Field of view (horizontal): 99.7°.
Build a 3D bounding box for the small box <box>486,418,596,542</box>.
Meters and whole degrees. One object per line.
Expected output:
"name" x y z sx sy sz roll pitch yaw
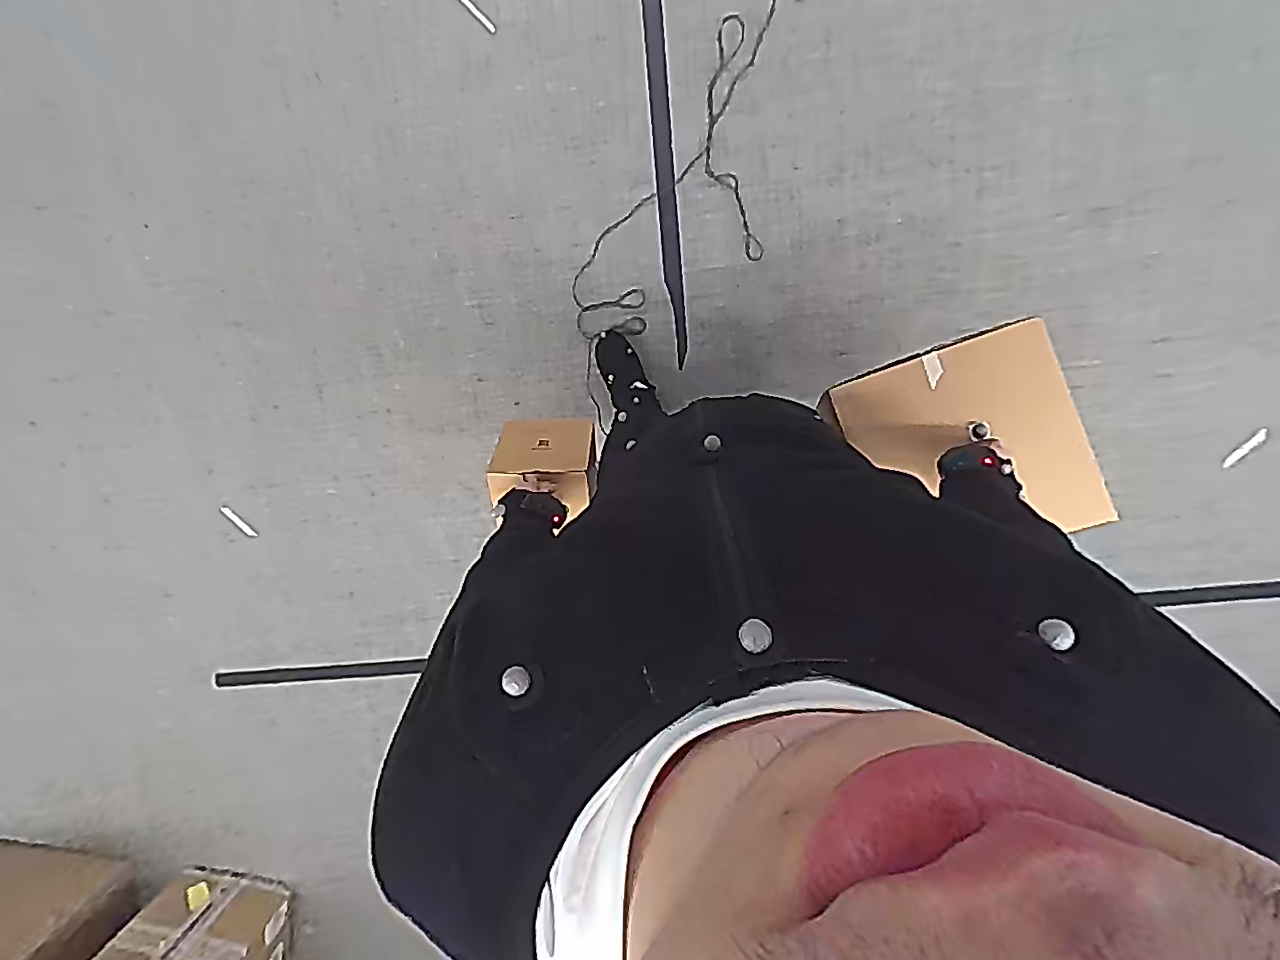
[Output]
"small box" -0.171 0.001 0.996 0.168 0.179 0.176 0 125 0
